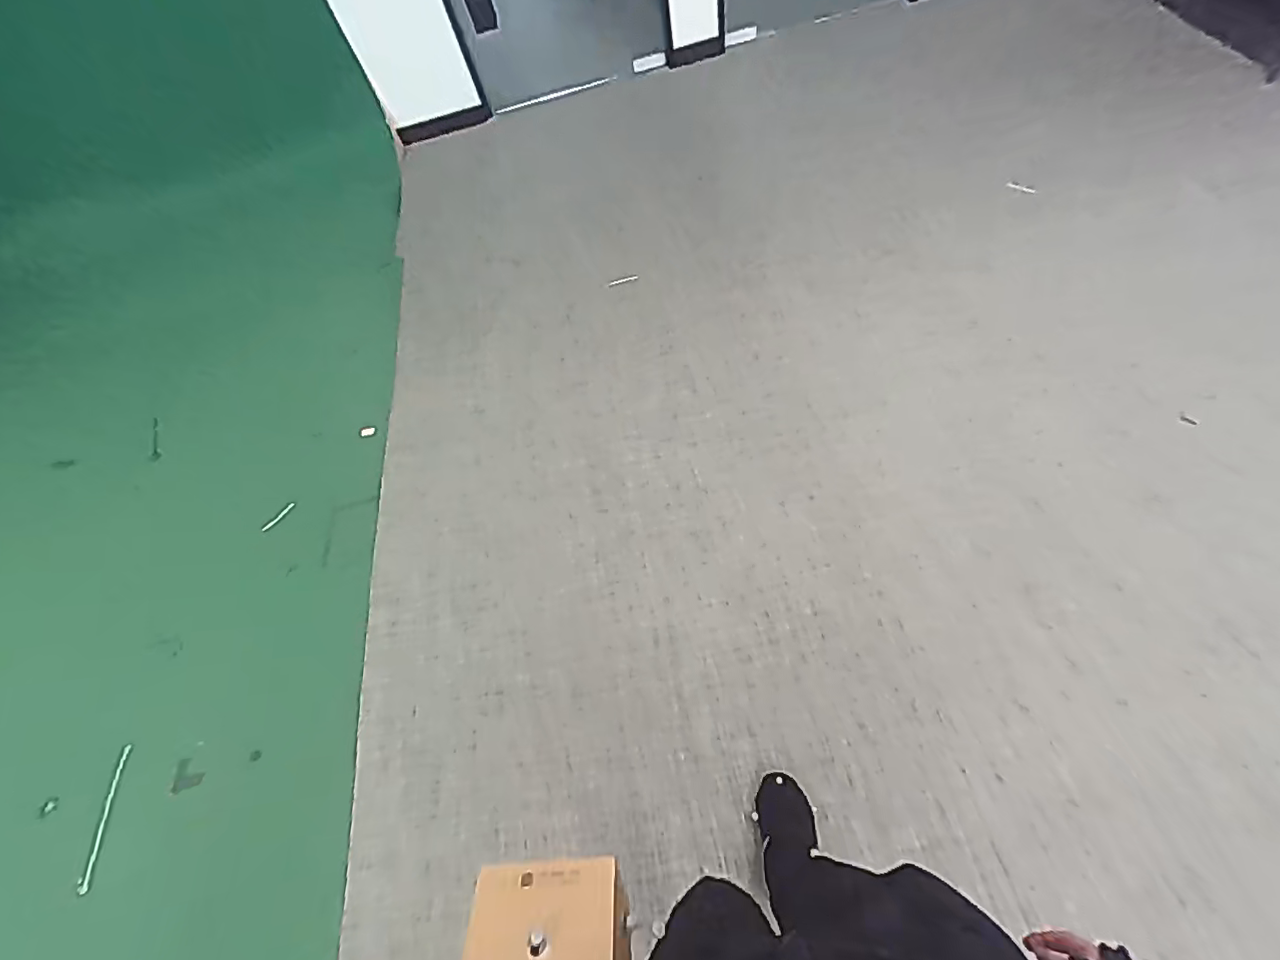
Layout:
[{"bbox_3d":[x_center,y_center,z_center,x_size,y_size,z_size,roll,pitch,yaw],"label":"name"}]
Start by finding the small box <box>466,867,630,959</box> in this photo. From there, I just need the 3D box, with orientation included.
[{"bbox_3d":[-0.101,0.569,0.619,0.168,0.179,0.176,-6,35,2],"label":"small box"}]
